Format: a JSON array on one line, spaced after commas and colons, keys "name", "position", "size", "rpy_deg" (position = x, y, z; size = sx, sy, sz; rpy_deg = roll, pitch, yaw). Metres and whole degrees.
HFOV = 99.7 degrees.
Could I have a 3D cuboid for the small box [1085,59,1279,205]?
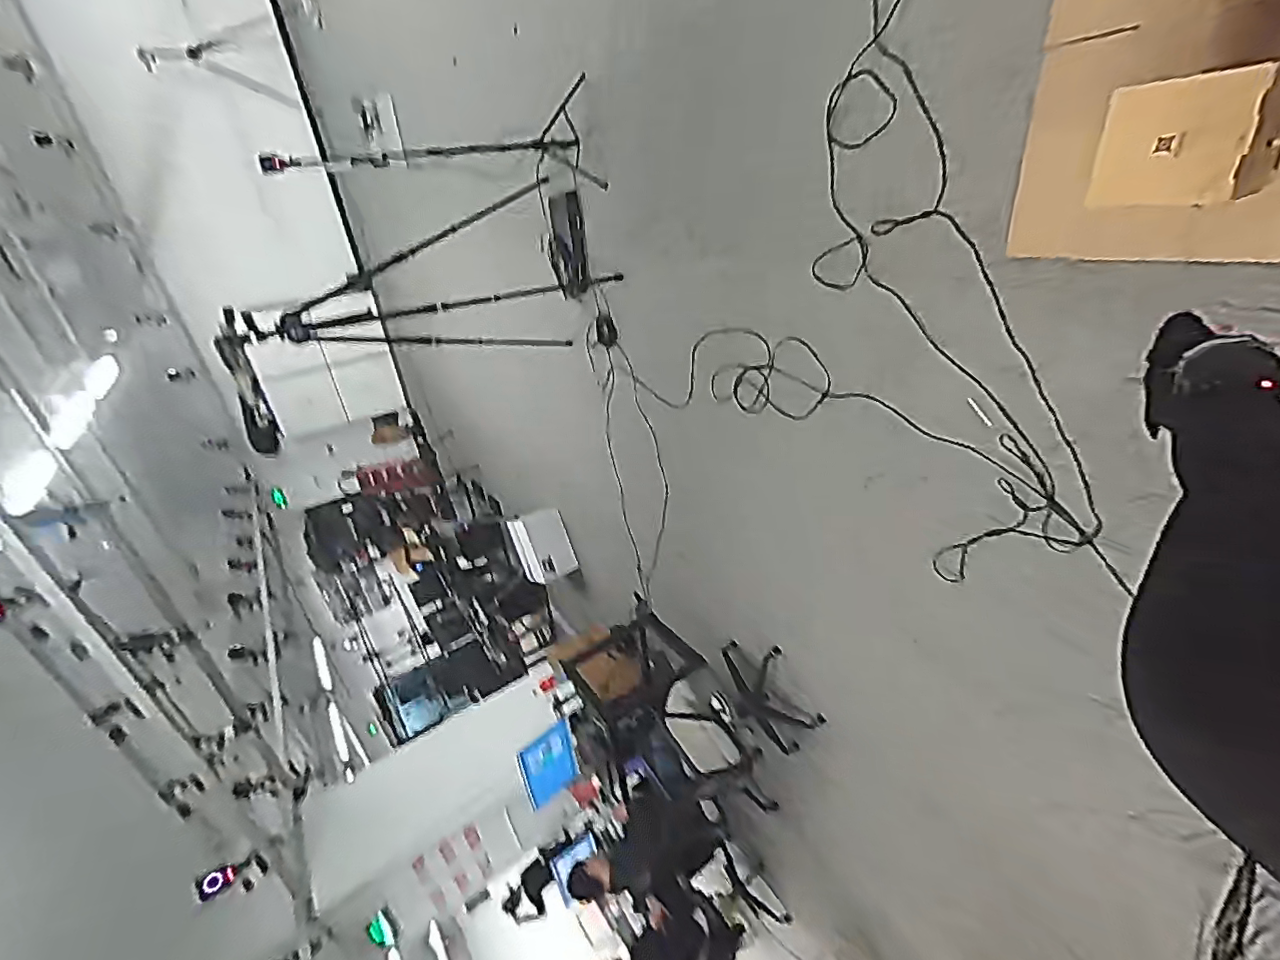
[{"name": "small box", "position": [0.846, -0.525, 0.832], "size": [0.179, 0.176, 0.168], "rpy_deg": [30, 135, 49]}]
